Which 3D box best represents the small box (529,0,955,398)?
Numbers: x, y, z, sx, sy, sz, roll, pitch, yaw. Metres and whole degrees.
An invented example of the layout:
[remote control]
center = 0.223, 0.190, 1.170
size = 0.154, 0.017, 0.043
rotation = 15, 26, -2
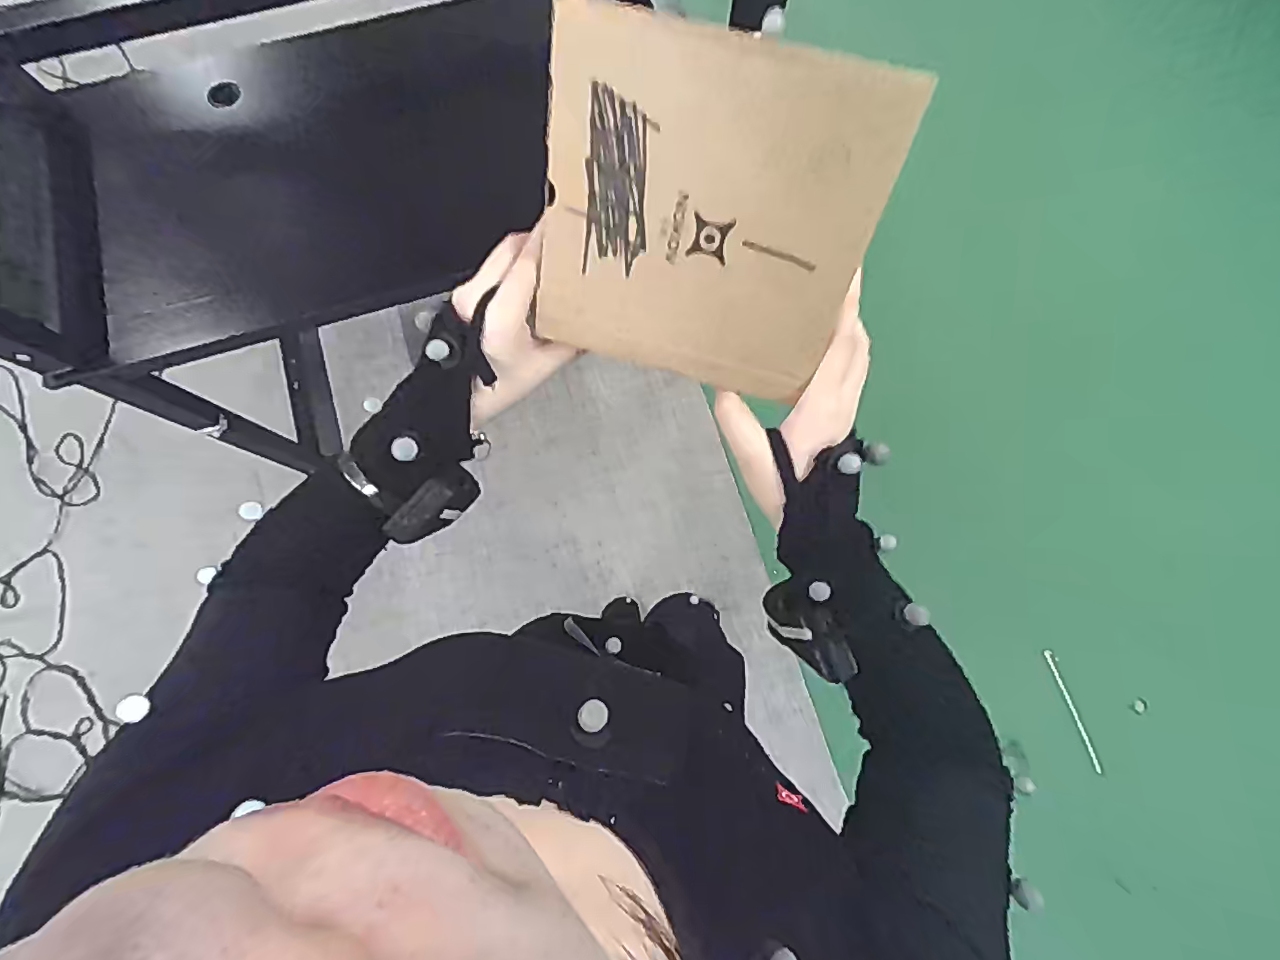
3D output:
[small box]
center = 0.049, -0.180, 0.333
size = 0.179, 0.168, 0.176
rotation = 16, 40, 4
